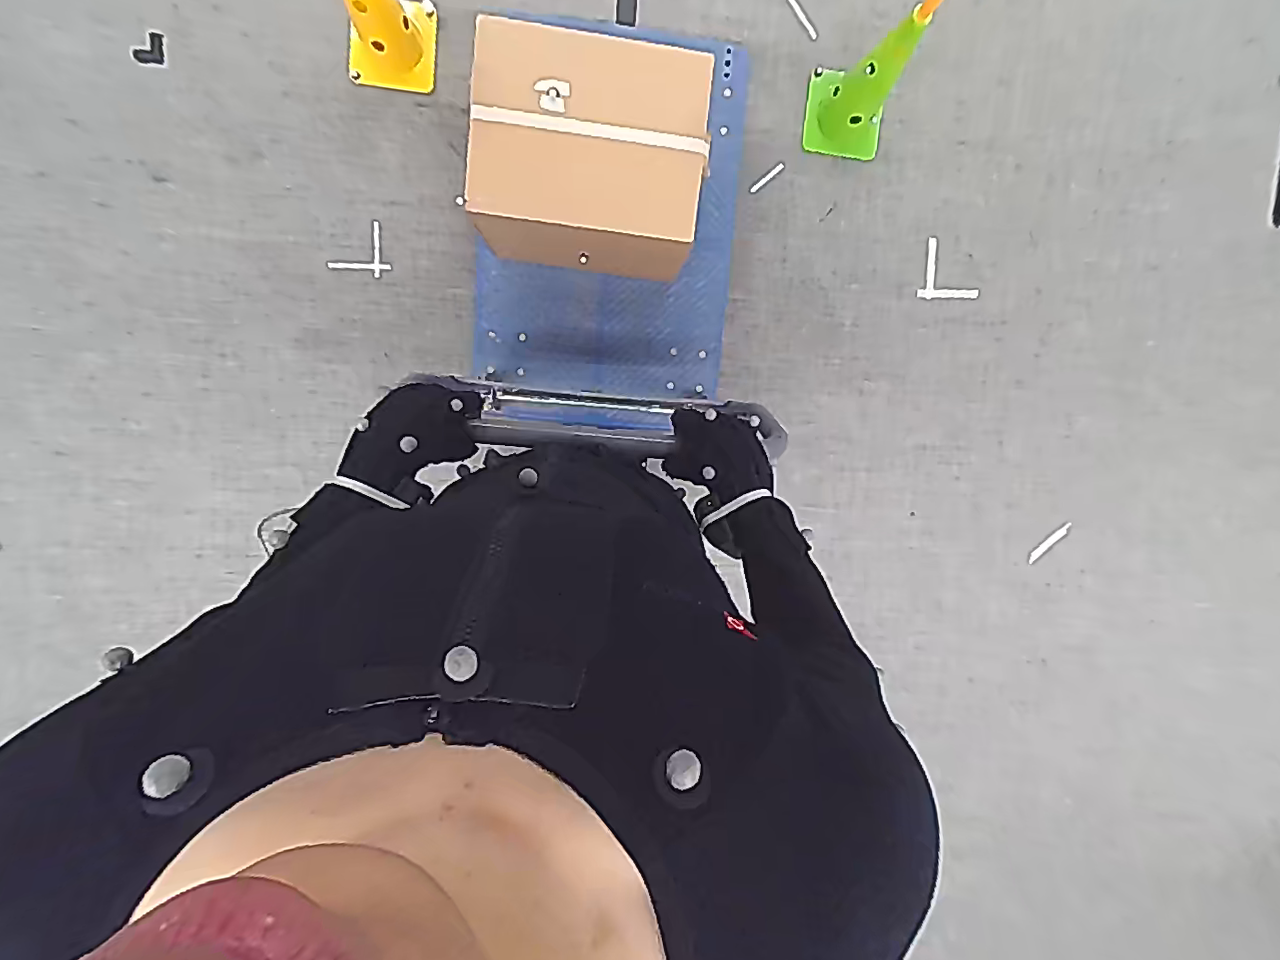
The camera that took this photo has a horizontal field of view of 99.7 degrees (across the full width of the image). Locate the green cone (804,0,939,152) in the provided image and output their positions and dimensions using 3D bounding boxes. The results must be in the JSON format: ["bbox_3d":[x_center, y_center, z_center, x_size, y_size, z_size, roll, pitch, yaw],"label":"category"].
[{"bbox_3d":[0.543,-0.942,1.226,0.202,0.368,0.200,6,97,-6],"label":"green cone"}]

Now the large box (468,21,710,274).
[{"bbox_3d":[-0.095,-0.623,1.083,0.408,0.320,0.320,6,97,-4],"label":"large box"}]
